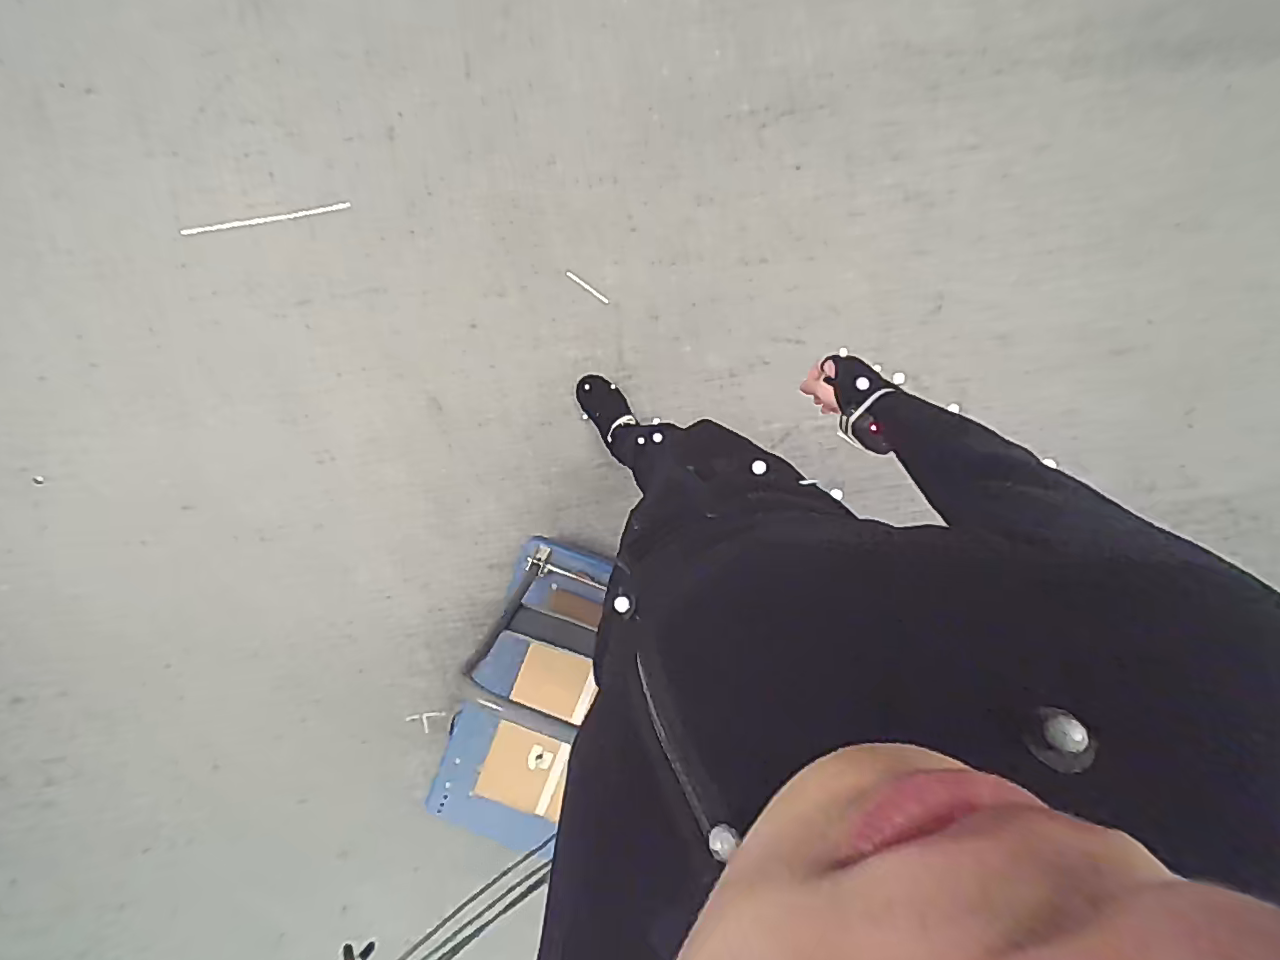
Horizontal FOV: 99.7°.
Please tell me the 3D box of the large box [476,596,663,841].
[{"bbox_3d":[-0.160,0.559,1.334,0.320,0.320,0.408,21,97,-3],"label":"large box"}]
